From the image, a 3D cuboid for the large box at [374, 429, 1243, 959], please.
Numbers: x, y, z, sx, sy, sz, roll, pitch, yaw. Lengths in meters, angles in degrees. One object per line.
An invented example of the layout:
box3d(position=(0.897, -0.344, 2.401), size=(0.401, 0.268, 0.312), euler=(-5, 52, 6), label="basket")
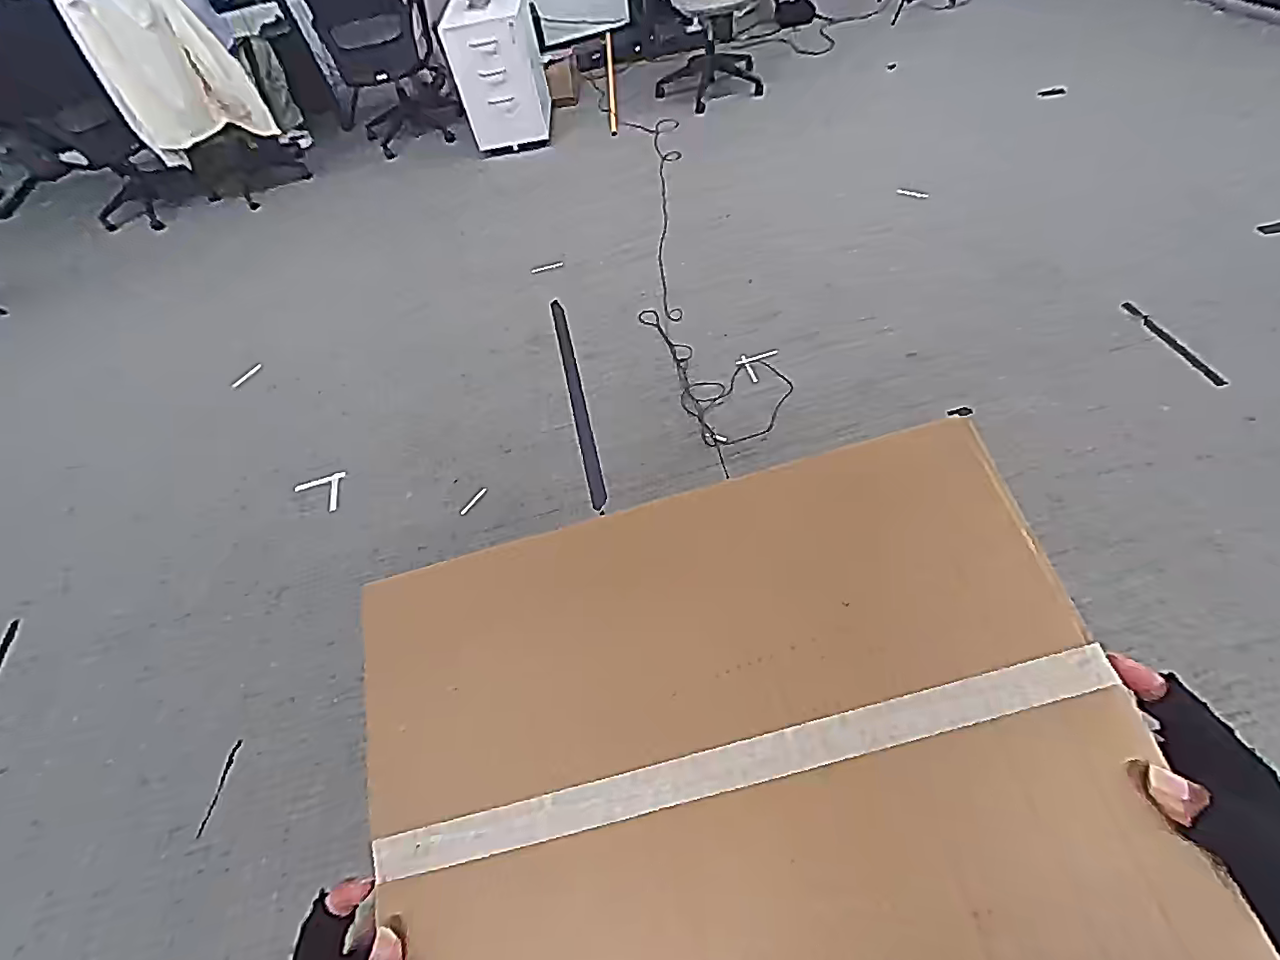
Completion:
box3d(position=(0.070, 0.211, 0.436), size=(0.408, 0.320, 0.320), euler=(-17, 66, 2), label="large box")
